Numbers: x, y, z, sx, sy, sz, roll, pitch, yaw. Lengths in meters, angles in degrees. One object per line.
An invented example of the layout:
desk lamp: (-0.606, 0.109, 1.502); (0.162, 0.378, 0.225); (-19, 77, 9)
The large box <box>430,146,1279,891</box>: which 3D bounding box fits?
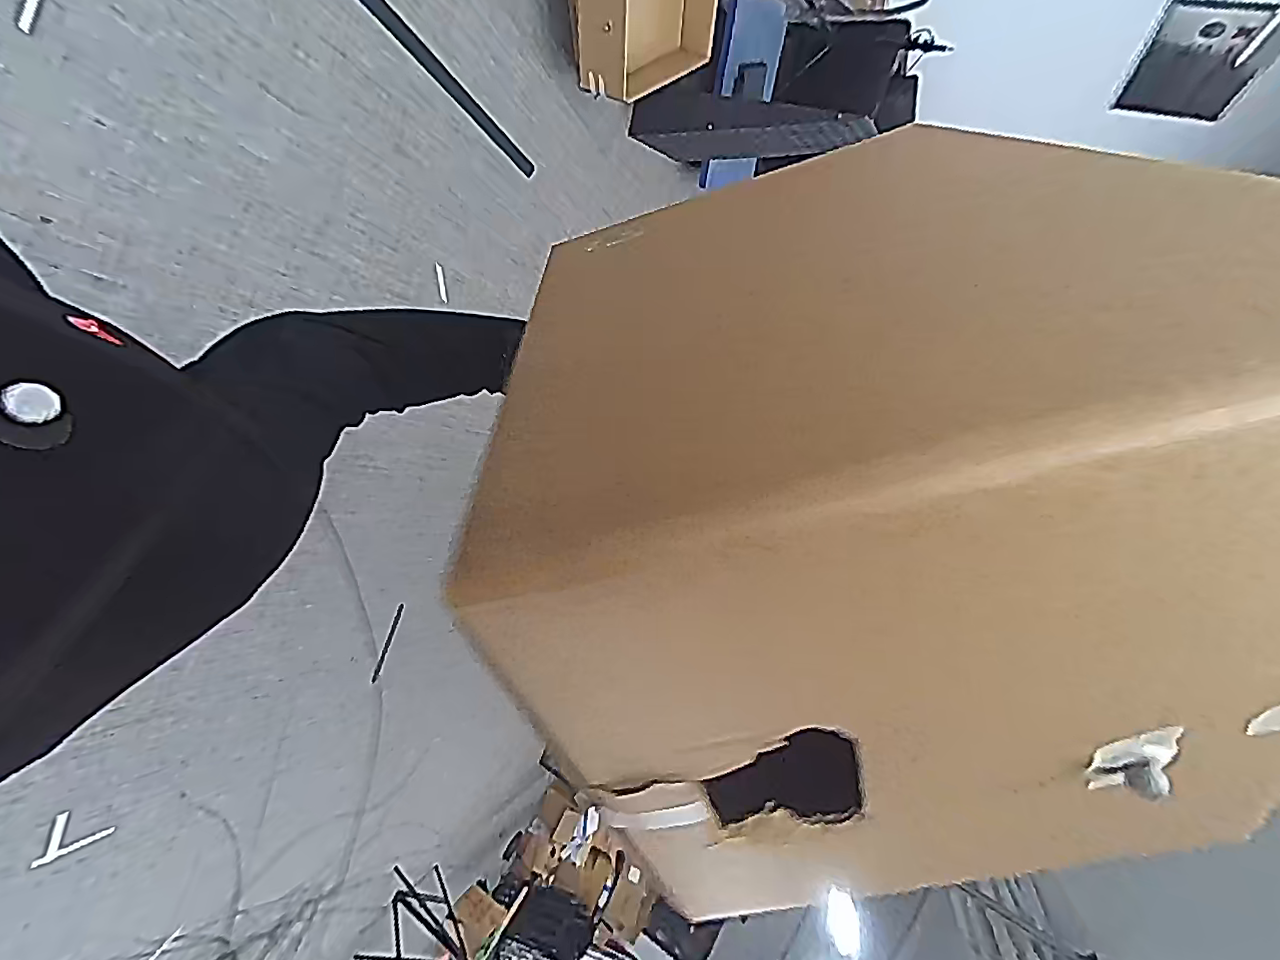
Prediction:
large box: (0.118, -0.008, 0.388); (0.408, 0.320, 0.320); (-91, 165, -54)
